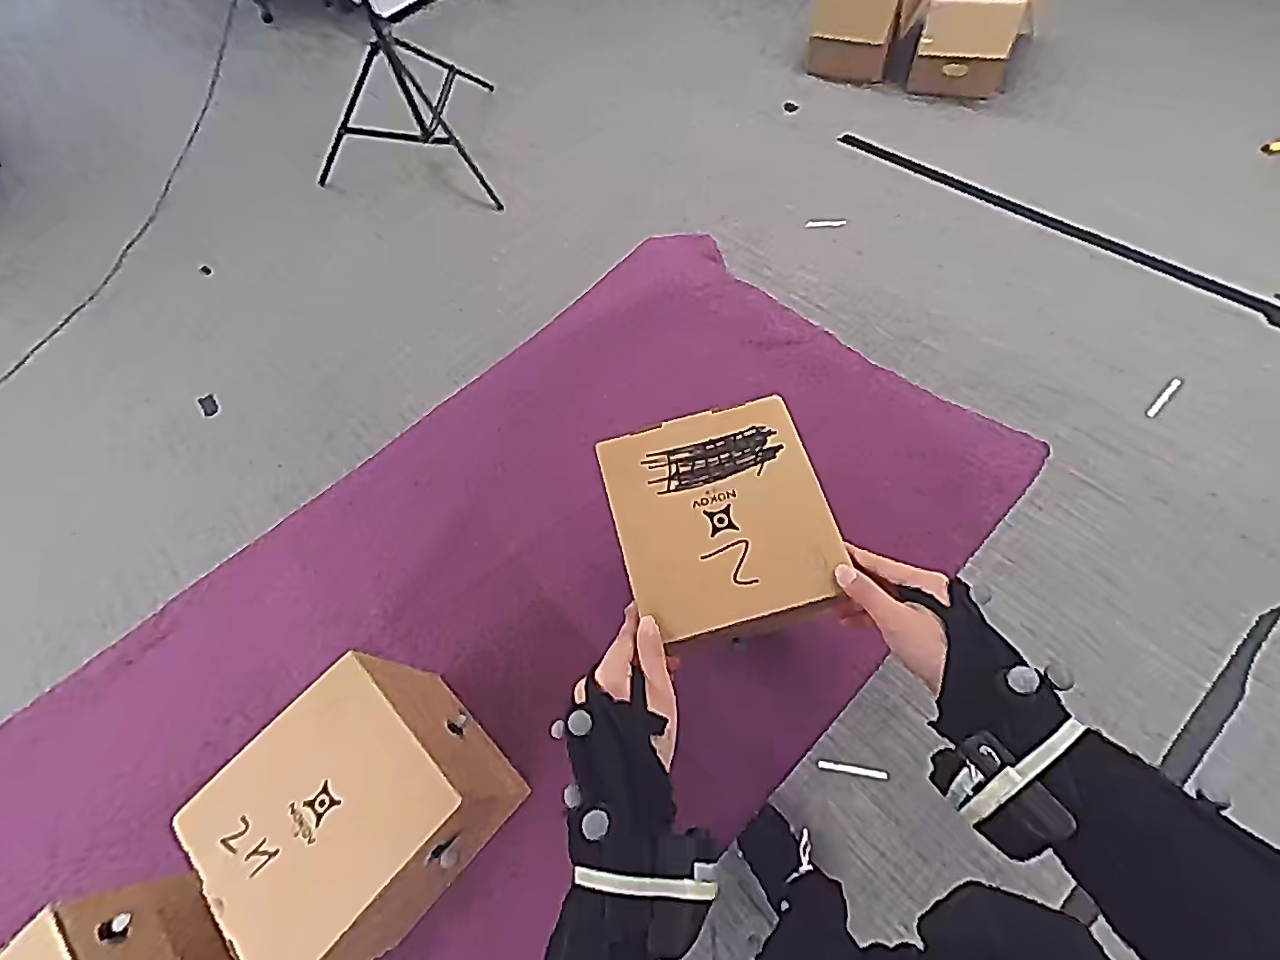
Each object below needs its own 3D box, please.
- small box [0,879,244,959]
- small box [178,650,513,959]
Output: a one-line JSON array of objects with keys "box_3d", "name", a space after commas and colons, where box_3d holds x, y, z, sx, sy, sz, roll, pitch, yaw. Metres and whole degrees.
[{"box_3d": [-0.418, 0.457, 0.426, 0.179, 0.176, 0.168, 34, 73, 23], "name": "small box"}, {"box_3d": [-0.236, 0.286, 0.483, 0.168, 0.176, 0.179, 37, 73, 24], "name": "small box"}]
